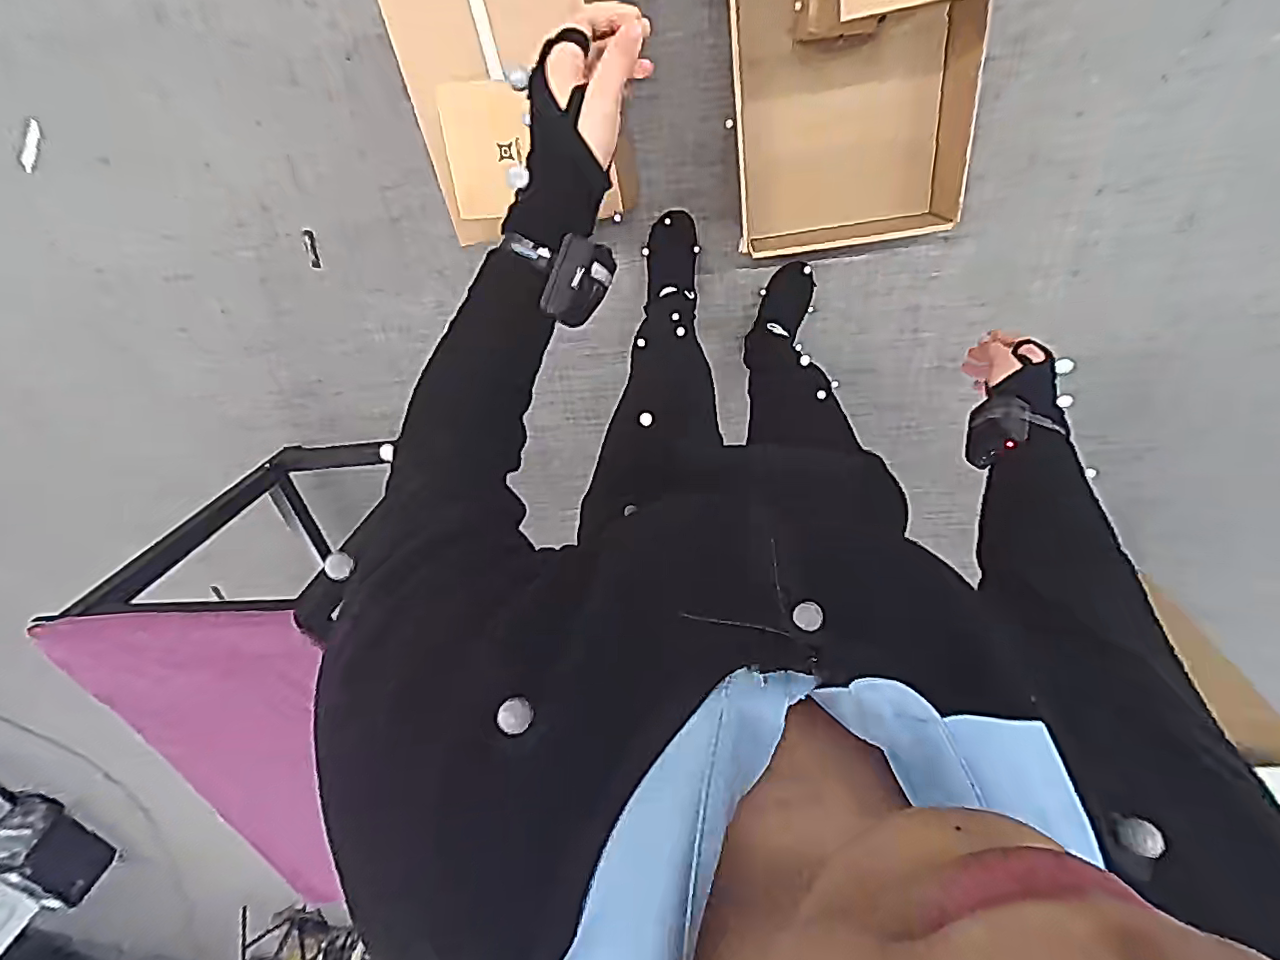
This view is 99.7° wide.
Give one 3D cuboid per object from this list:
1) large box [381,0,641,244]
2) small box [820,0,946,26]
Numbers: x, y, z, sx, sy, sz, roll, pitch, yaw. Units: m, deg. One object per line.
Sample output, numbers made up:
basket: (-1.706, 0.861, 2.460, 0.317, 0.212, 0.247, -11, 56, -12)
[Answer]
large box: (-0.194, -0.696, 0.983, 0.320, 0.320, 0.408, -6, 123, 11)
small box: (0.340, -0.734, 0.721, 0.168, 0.176, 0.179, -6, 124, 9)
